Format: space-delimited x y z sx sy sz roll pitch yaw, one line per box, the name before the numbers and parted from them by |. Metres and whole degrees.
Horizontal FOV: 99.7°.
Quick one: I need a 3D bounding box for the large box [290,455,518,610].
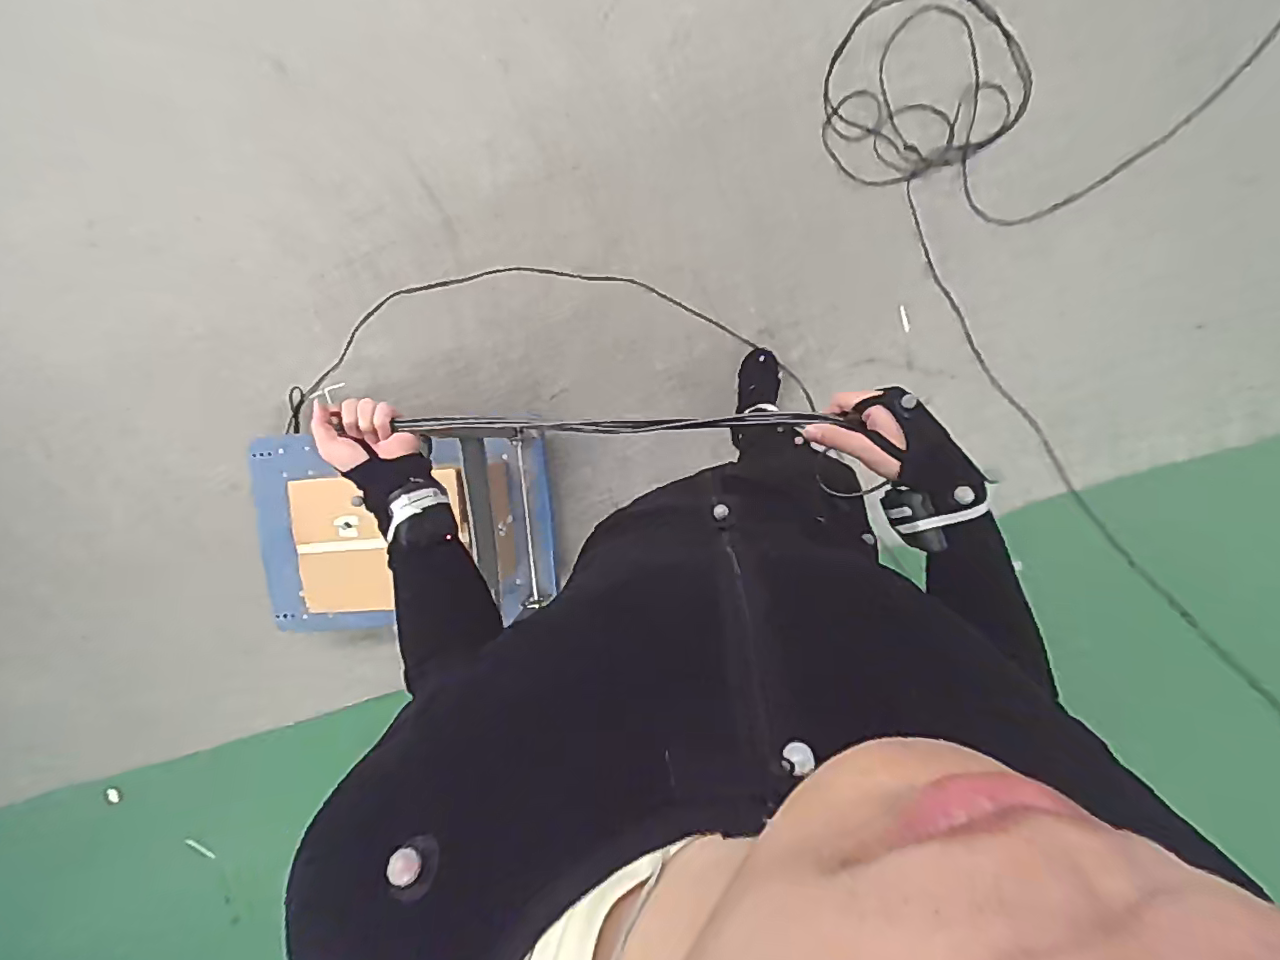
large box | -0.561 0.116 1.350 0.408 0.320 0.320 -4 95 8
